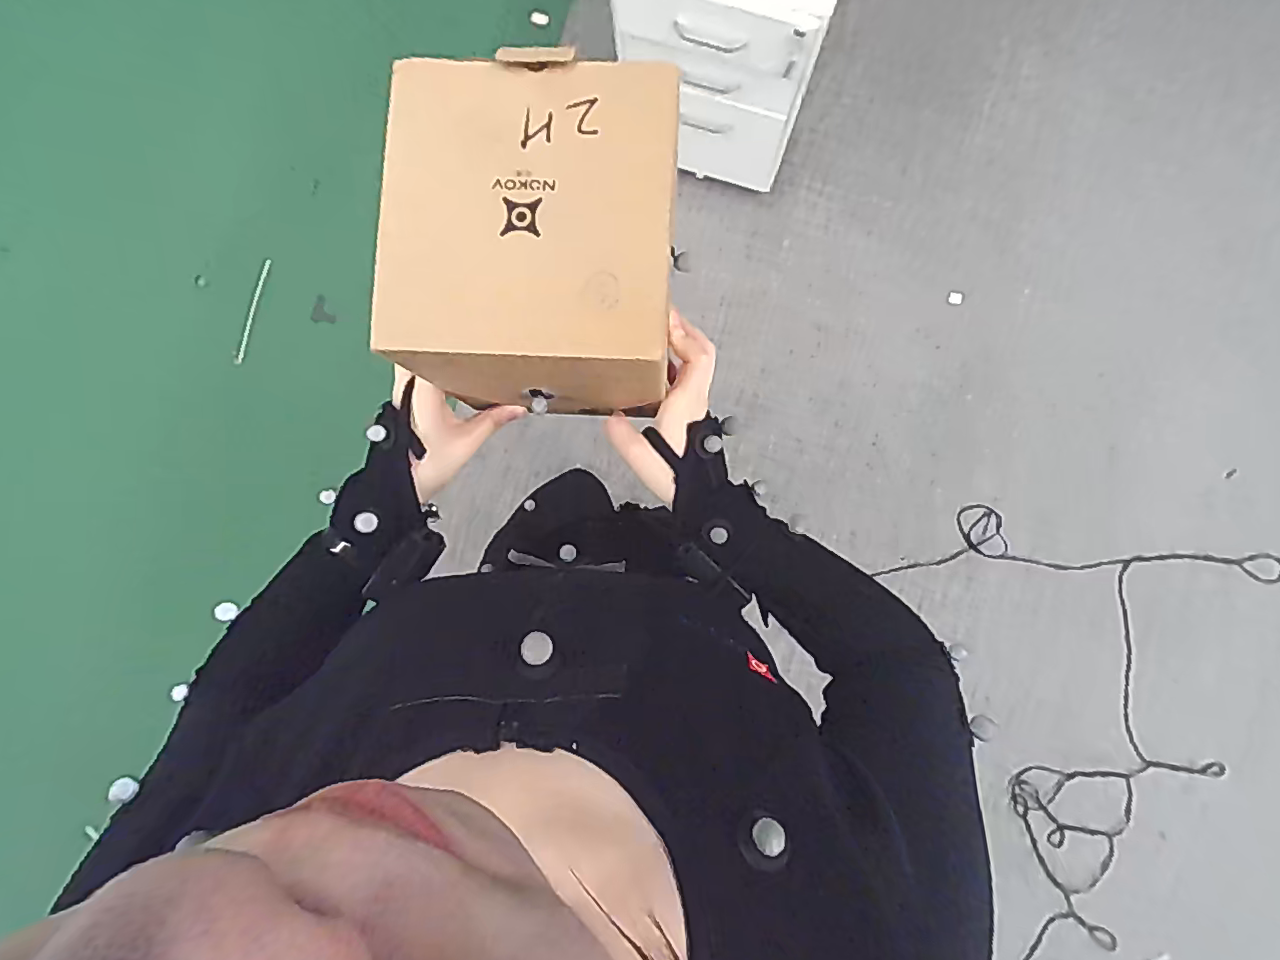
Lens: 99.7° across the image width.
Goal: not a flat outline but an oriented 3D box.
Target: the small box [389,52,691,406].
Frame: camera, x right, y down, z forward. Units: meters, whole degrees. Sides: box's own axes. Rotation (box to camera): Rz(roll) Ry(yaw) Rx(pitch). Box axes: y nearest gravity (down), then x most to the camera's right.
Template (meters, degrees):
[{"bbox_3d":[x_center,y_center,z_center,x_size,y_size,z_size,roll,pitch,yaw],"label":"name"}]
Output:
[{"bbox_3d":[-0.054,-0.156,0.391,0.168,0.176,0.179,4,86,2],"label":"small box"}]
